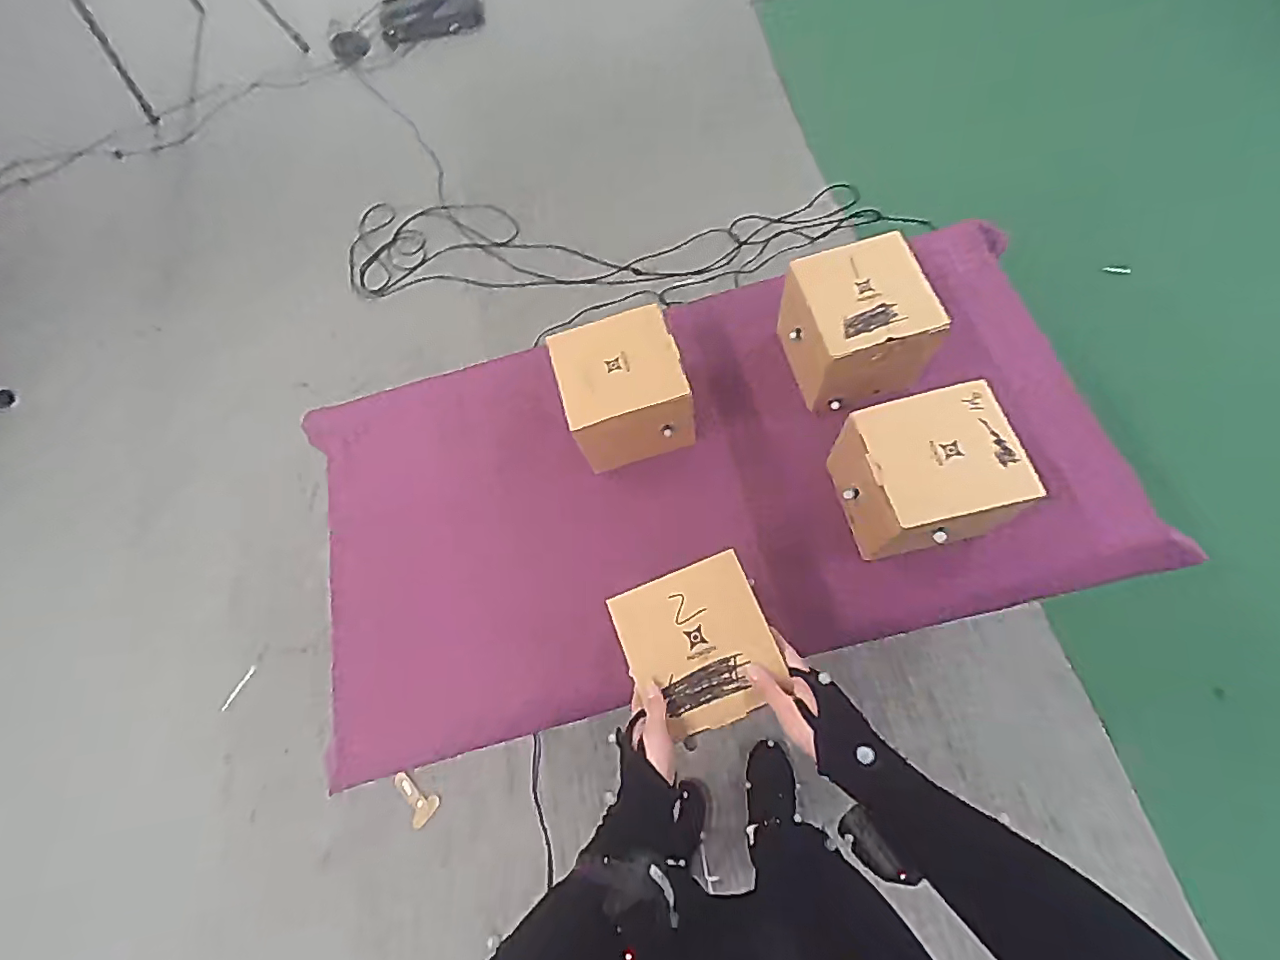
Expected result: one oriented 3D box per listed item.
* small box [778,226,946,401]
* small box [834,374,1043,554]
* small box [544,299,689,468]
[{"bbox_3d":[0.317,-0.237,0.816,0.168,0.176,0.179,-15,67,2],"label":"small box"},{"bbox_3d":[0.373,-0.011,0.723,0.179,0.176,0.168,-14,68,4],"label":"small box"},{"bbox_3d":[-0.028,-0.140,0.830,0.179,0.176,0.168,-17,68,2],"label":"small box"}]
